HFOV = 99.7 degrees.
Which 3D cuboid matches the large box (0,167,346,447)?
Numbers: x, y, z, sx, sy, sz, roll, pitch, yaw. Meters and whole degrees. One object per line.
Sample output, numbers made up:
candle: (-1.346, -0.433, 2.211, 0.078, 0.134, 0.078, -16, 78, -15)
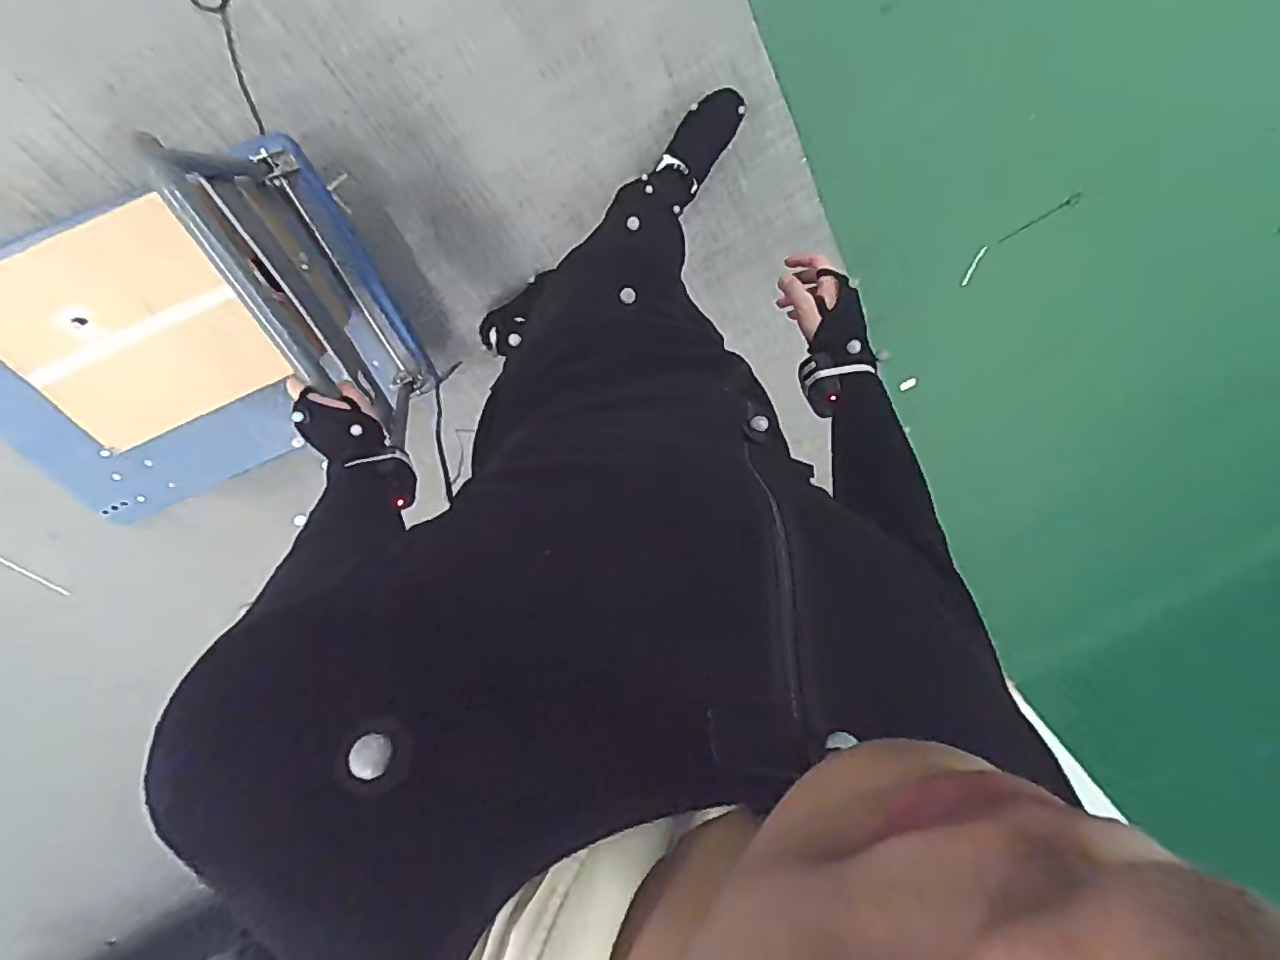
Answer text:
large box: (-0.844, -0.333, 1.002, 0.408, 0.320, 0.320, -25, 124, -2)
